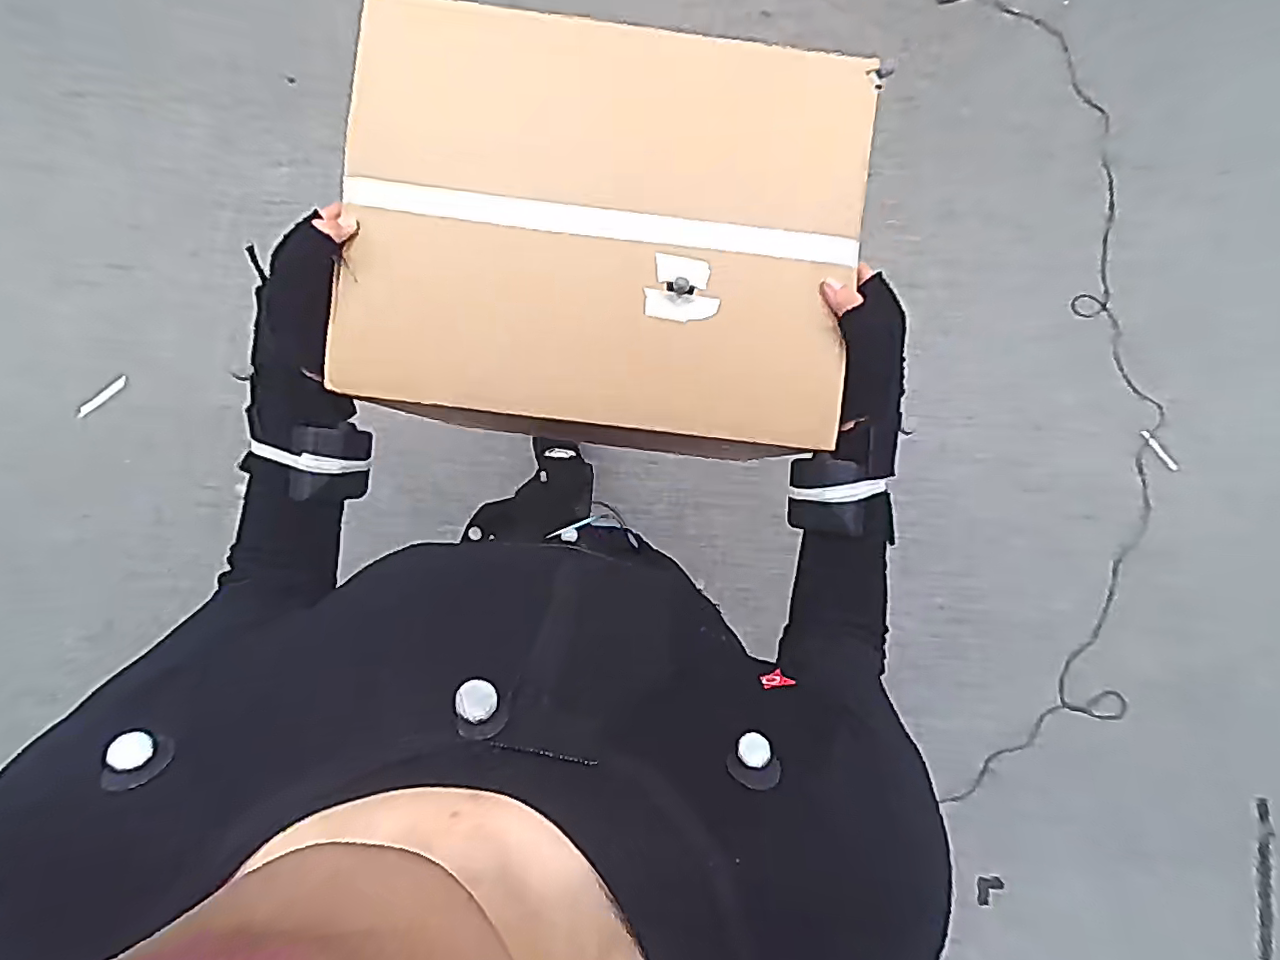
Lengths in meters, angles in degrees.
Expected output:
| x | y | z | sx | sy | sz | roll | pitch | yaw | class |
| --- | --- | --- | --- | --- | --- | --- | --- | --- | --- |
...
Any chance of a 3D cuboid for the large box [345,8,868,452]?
| x | y | z | sx | sy | sz | roll | pitch | yaw | class |
| --- | --- | --- | --- | --- | --- | --- | --- | --- | --- |
| -0.031 | -0.206 | 0.585 | 0.408 | 0.320 | 0.320 | 7 | 91 | -2 | large box |
